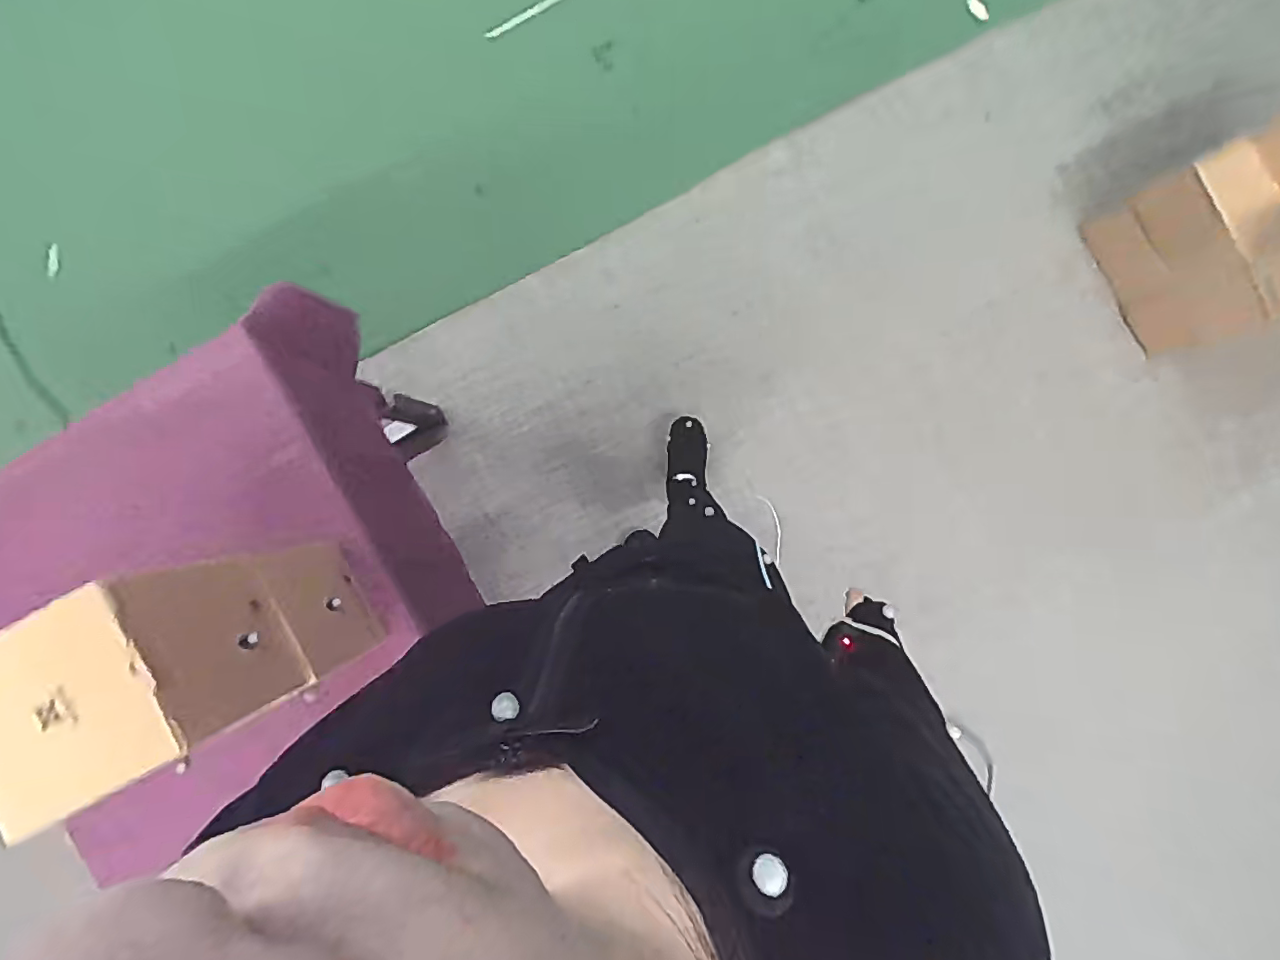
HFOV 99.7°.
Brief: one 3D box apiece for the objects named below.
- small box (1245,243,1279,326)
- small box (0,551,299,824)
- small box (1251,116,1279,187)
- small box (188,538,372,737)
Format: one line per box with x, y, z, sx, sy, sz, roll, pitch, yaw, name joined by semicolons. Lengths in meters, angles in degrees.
1.392;-0.430;1.070;0.179;0.176;0.168;-23;90;0;small box
-0.499;0.187;0.544;0.179;0.176;0.168;-28;89;0;small box
1.413;-0.702;1.075;0.168;0.176;0.179;-29;88;-1;small box
-0.485;0.188;0.706;0.179;0.176;0.168;-28;89;2;small box
